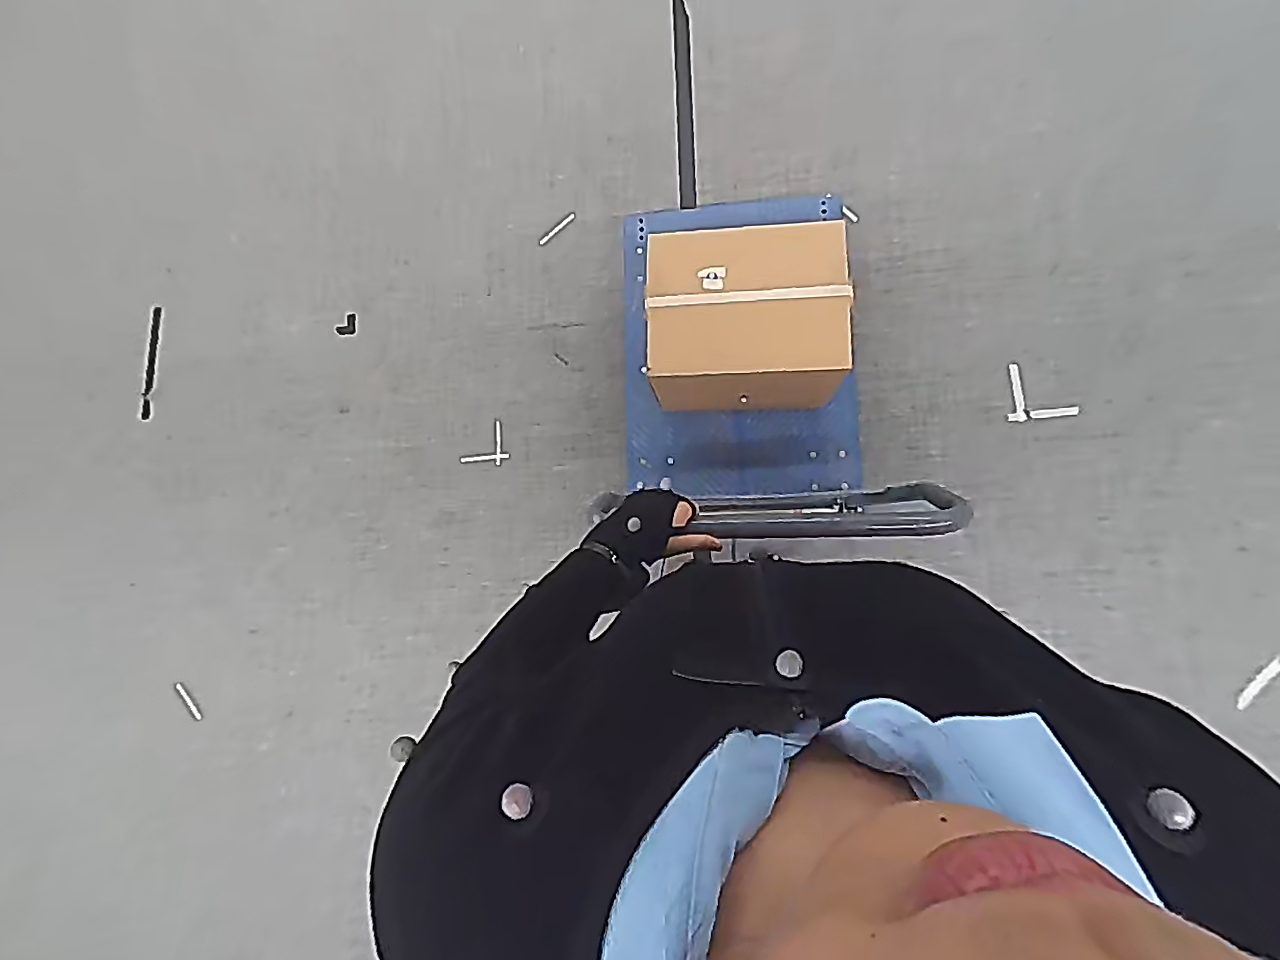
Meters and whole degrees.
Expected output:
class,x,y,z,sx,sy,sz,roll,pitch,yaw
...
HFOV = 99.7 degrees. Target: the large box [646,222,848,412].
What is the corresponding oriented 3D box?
class,x,y,z,sx,sy,sz,roll,pitch,yaw
large box,0.237,-0.350,1.253,0.408,0.320,0.320,-1,82,9
